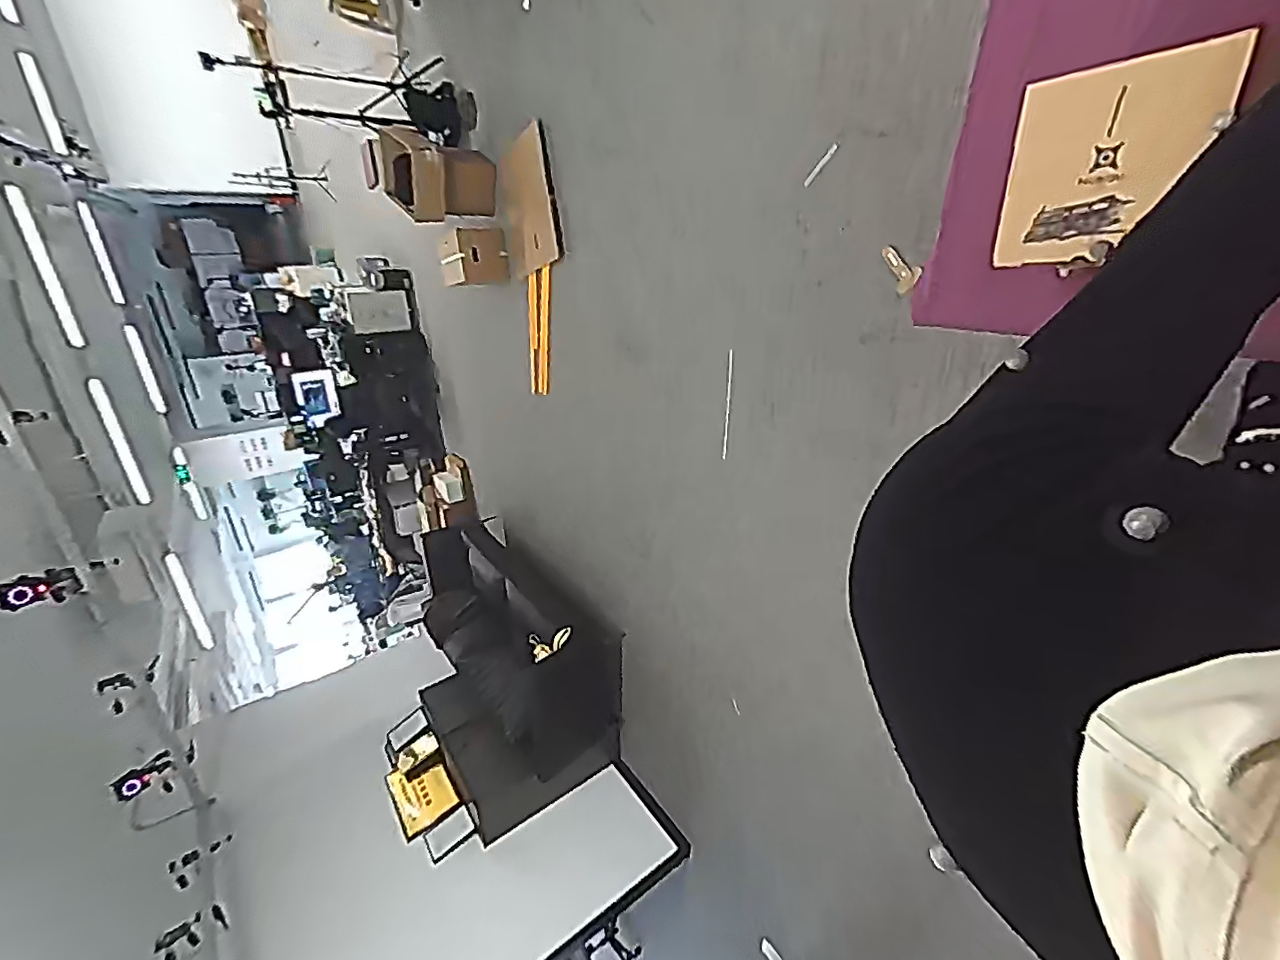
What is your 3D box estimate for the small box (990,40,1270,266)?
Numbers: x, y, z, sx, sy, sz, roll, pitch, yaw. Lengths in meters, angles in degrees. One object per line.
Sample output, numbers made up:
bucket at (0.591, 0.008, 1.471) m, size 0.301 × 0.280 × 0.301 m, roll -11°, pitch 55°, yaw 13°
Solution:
small box at (0.518, -0.325, 0.580) m, size 0.168 × 0.176 × 0.179 m, roll 26°, pitch 123°, yaw 49°
